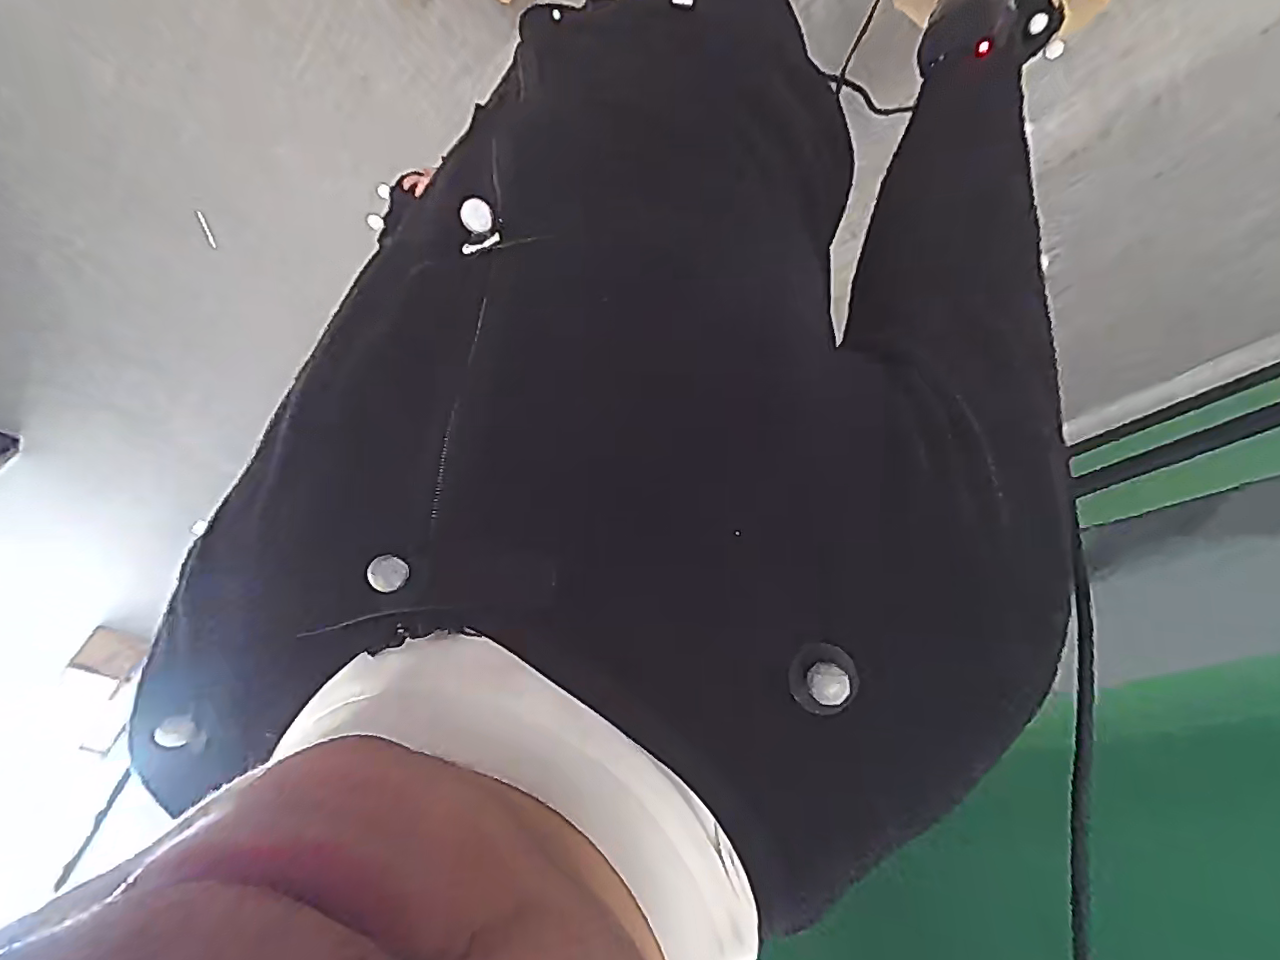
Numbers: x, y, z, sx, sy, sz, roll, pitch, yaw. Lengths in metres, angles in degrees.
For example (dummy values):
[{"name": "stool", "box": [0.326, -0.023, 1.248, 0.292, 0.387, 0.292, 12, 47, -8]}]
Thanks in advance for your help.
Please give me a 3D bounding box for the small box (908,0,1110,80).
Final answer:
[{"name": "small box", "box": [0.394, -0.547, 0.526, 0.168, 0.176, 0.179, 32, 102, -6]}]
